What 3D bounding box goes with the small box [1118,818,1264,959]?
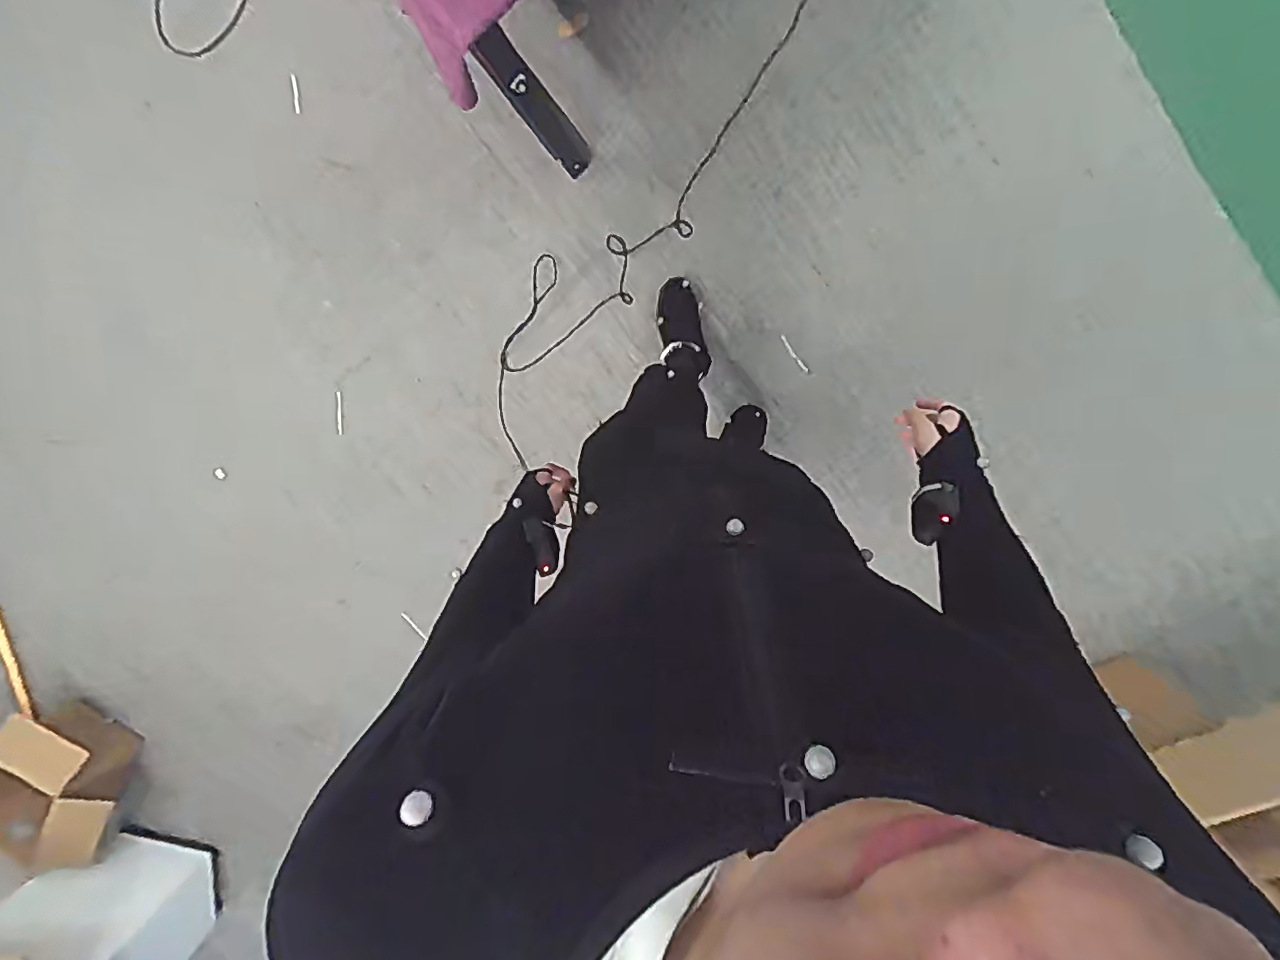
[{"bbox_3d":[1.217,0.895,1.188,0.168,0.176,0.179,-25,99,11],"label":"small box"}]
